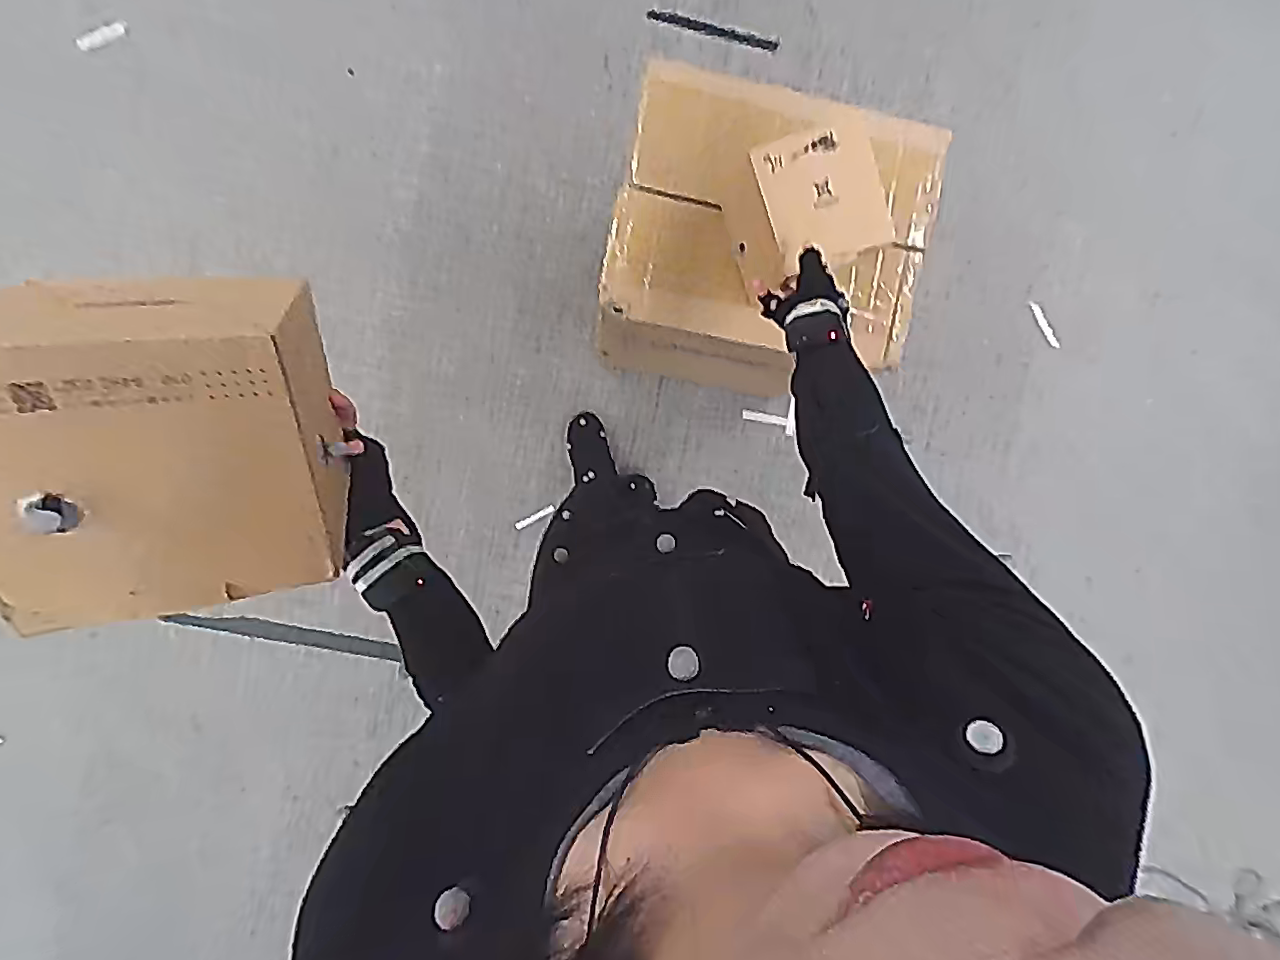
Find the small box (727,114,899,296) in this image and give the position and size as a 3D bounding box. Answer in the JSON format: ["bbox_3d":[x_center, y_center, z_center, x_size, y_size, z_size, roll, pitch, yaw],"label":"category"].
[{"bbox_3d":[0.245,-0.388,0.802,0.168,0.176,0.179,-19,97,-2],"label":"small box"}]

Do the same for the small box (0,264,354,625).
[{"bbox_3d":[-0.300,-0.040,0.359,0.168,0.179,0.176,-8,121,-20],"label":"small box"}]
